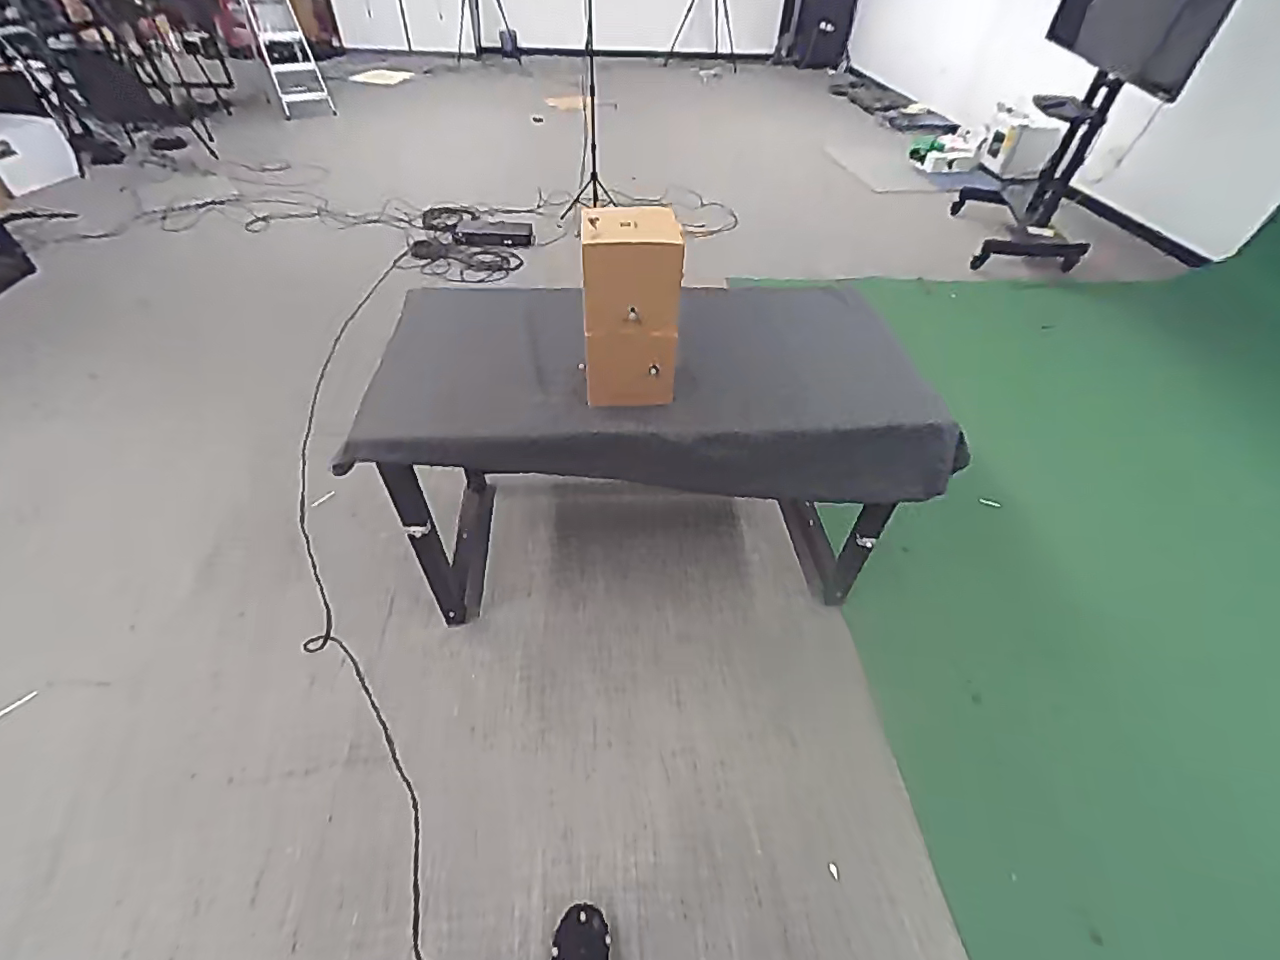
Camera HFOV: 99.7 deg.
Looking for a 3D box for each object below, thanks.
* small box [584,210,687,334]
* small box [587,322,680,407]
[{"bbox_3d":[-0.015,-0.386,1.013,0.179,0.176,0.168,-1,45,-4],"label":"small box"},{"bbox_3d":[-0.019,-0.265,1.122,0.179,0.176,0.168,-3,44,-4],"label":"small box"}]
